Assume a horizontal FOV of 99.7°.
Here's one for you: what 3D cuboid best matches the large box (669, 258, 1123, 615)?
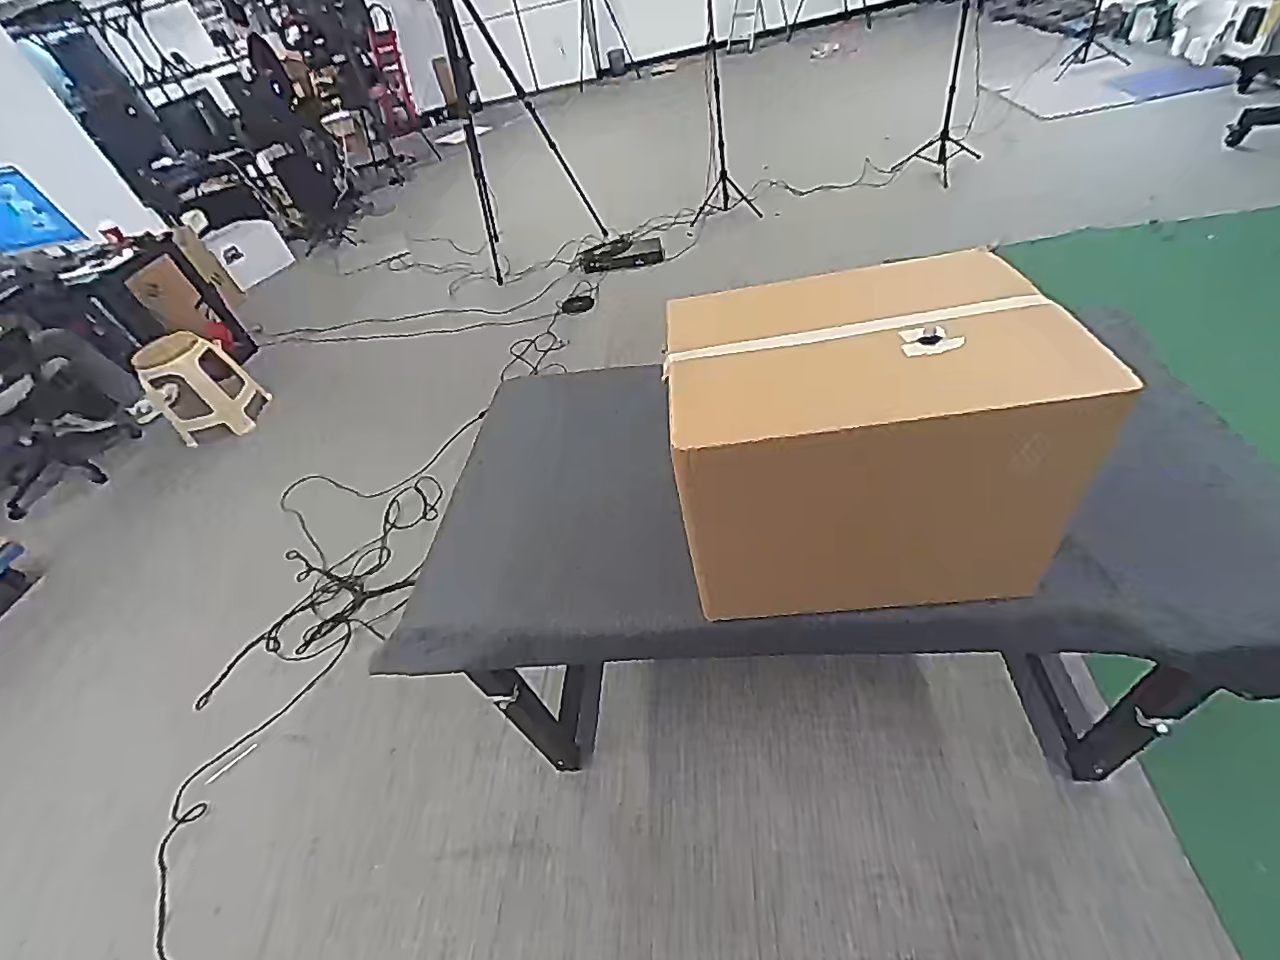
[{"bbox_3d":[0.258,-0.050,0.706,0.408,0.320,0.320,-6,44,8],"label":"large box"}]
